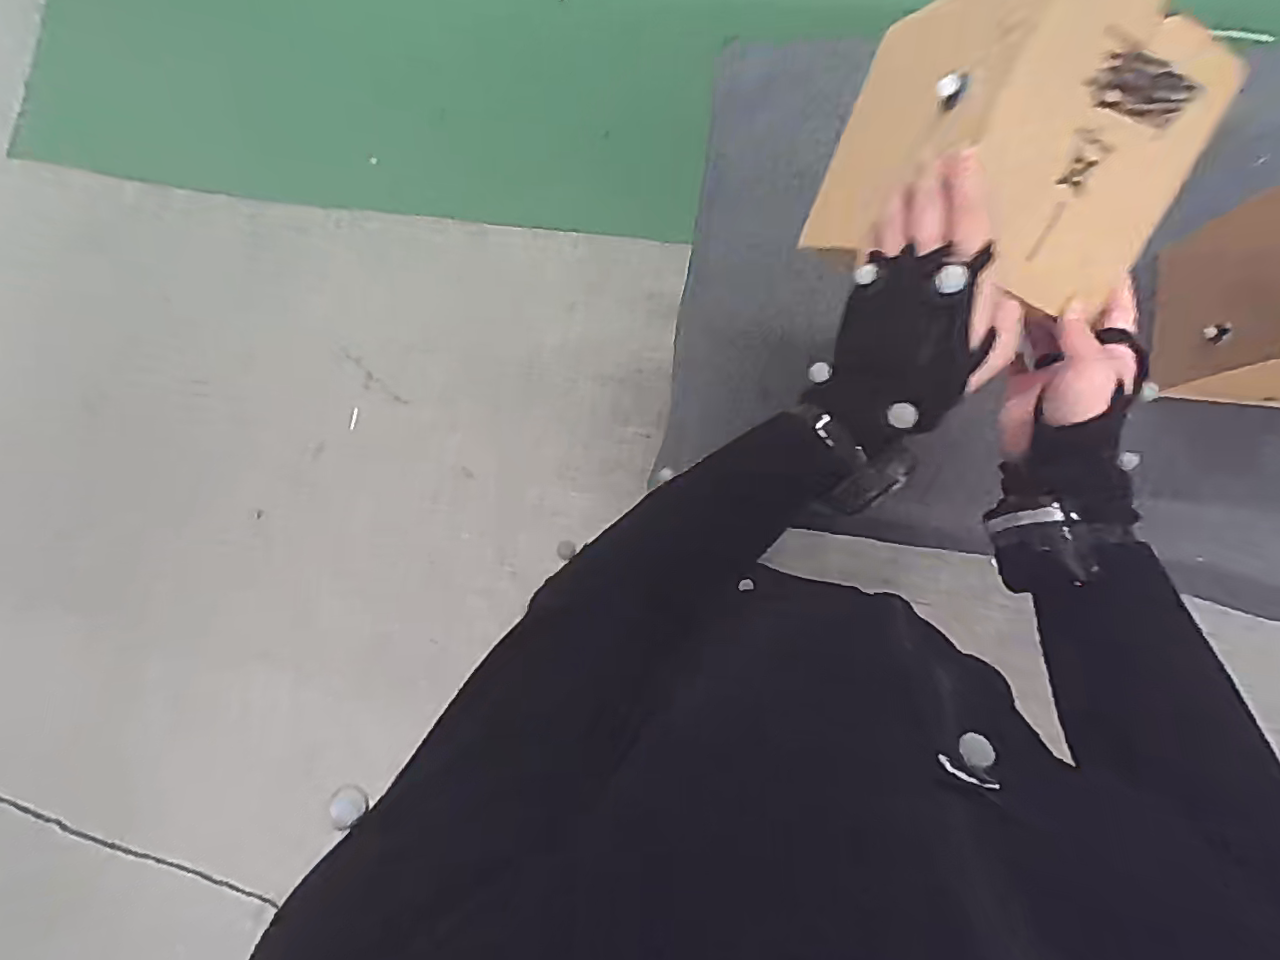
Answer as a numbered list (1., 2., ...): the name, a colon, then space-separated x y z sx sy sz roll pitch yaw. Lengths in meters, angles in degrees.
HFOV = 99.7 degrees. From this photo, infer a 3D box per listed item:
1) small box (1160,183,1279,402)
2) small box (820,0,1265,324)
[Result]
1. small box: 0.671 -0.179 0.533 0.168 0.176 0.179 7 86 7
2. small box: 0.268 -0.238 0.404 0.168 0.176 0.179 15 108 -19
